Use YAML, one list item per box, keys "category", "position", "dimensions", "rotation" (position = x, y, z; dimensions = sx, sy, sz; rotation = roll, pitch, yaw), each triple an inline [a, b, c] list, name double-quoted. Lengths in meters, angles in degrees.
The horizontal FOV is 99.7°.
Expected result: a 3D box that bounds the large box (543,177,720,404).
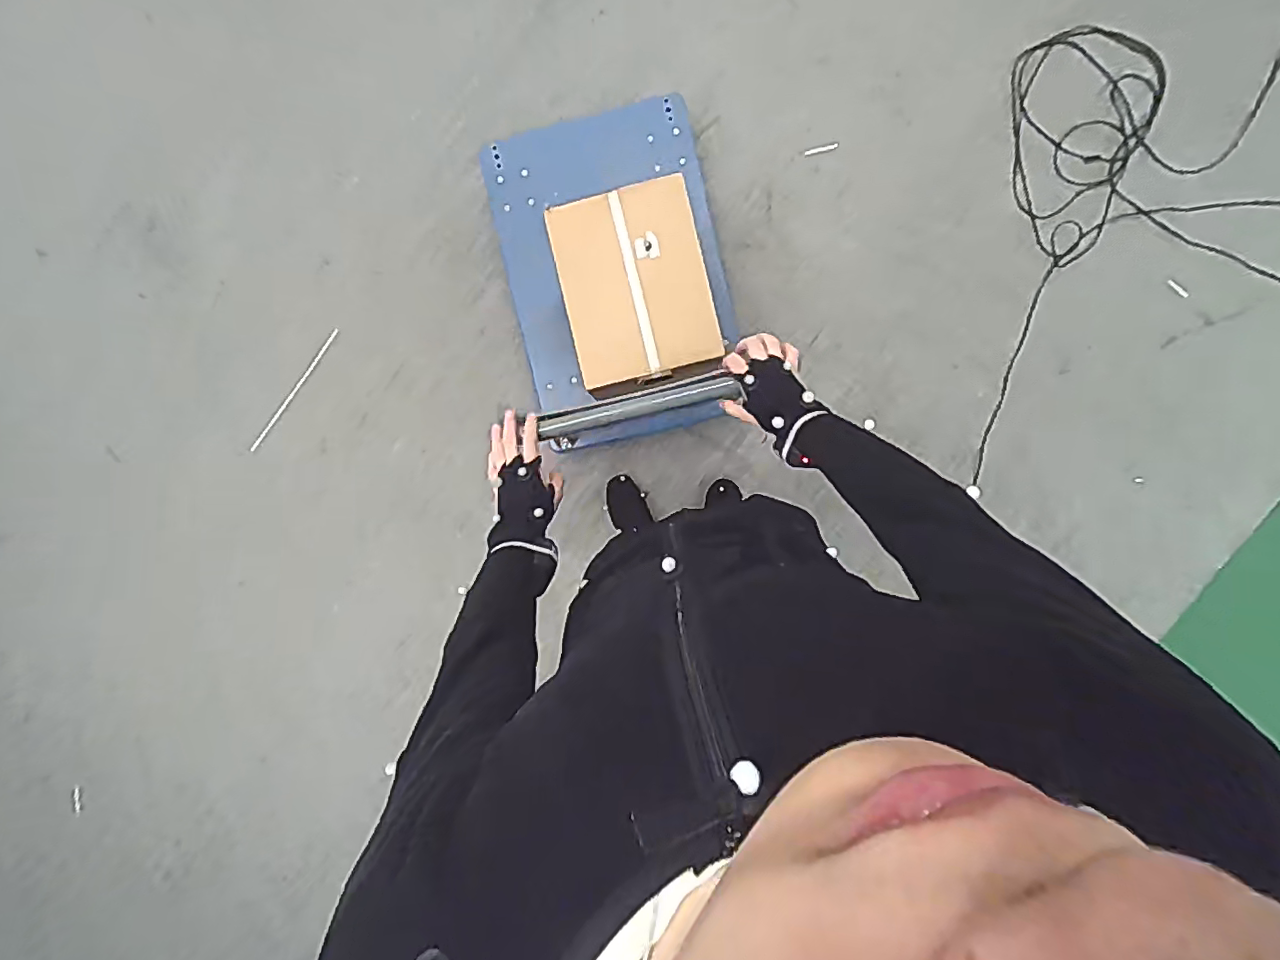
- category: "large box"
  position: [-0.010, -0.432, 1.328]
  dimensions: [0.320, 0.320, 0.408]
  rotation: [-13, 89, 3]
